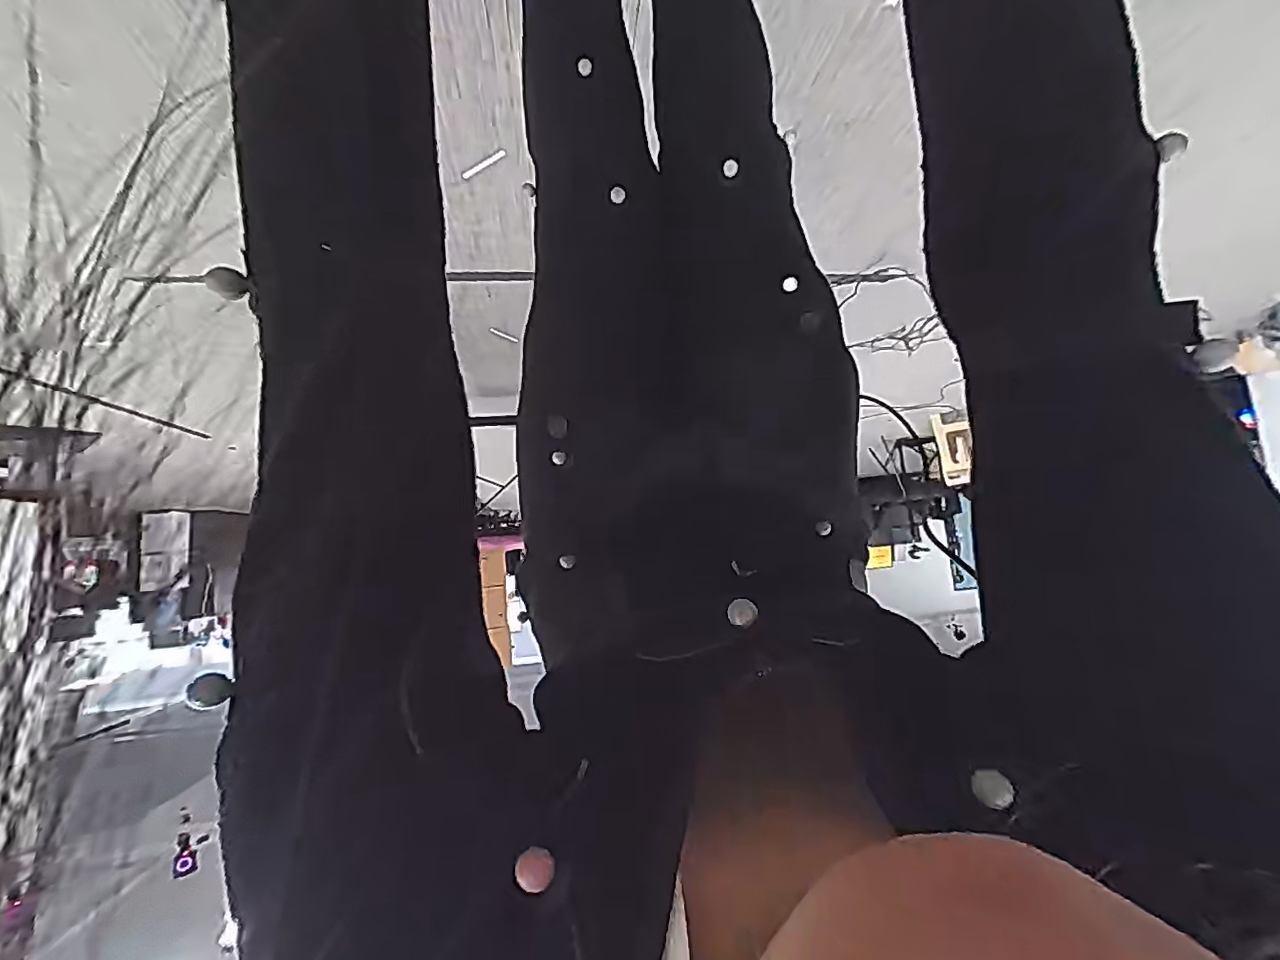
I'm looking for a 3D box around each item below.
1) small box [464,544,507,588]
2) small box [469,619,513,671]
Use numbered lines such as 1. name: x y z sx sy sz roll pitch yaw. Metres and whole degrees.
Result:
1. small box: -0.655 0.360 2.295 0.168 0.176 0.179 -4 173 -15
2. small box: -0.622 0.682 2.251 0.168 0.176 0.179 -2 174 -16
